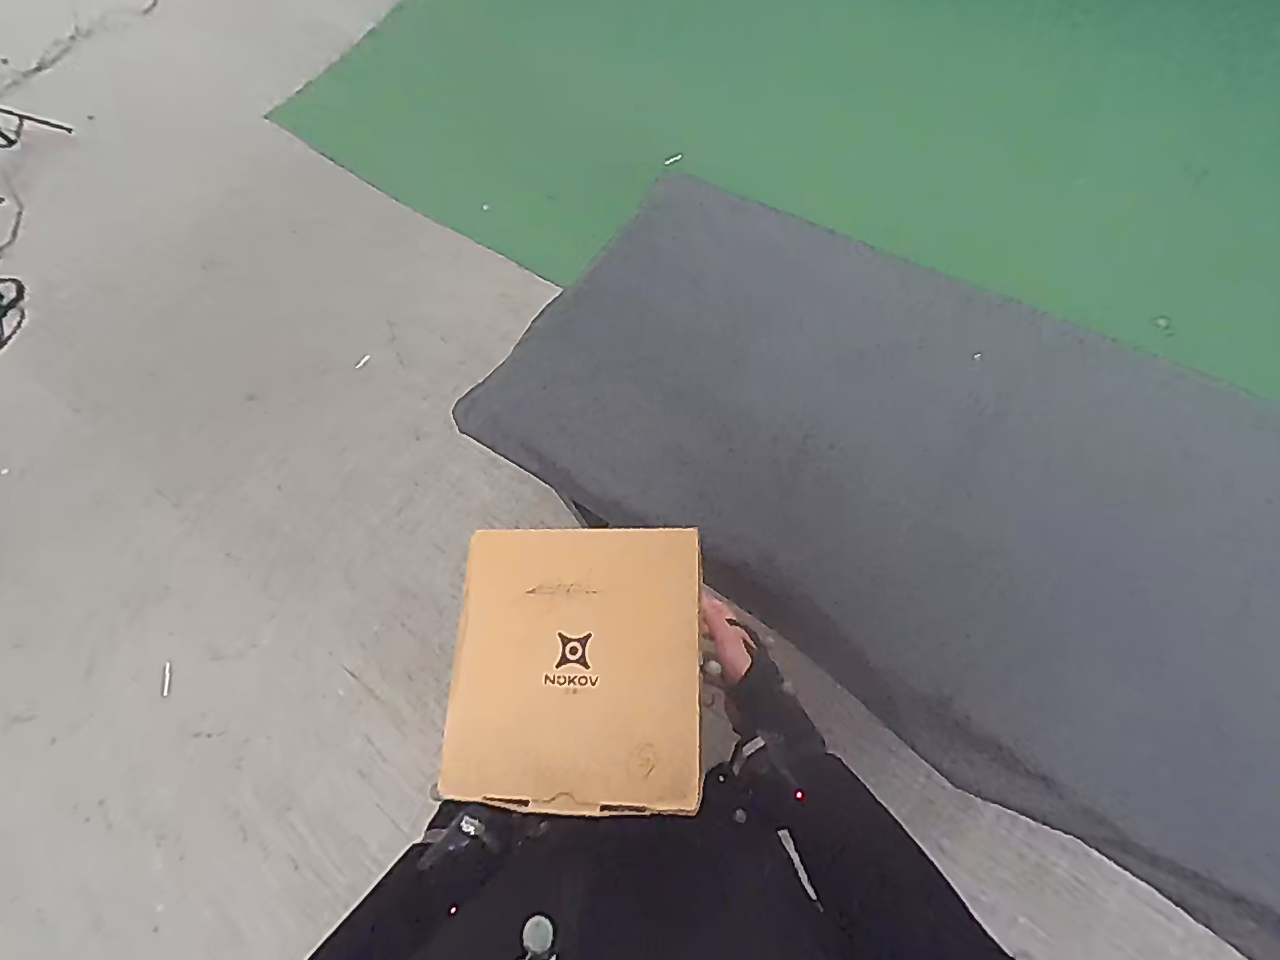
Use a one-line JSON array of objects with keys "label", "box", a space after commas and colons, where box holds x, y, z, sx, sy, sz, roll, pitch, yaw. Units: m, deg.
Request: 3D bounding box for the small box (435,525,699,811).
[{"label": "small box", "box": [-0.037, 0.141, 0.431, 0.168, 0.176, 0.179, 0, 70, 6]}]
